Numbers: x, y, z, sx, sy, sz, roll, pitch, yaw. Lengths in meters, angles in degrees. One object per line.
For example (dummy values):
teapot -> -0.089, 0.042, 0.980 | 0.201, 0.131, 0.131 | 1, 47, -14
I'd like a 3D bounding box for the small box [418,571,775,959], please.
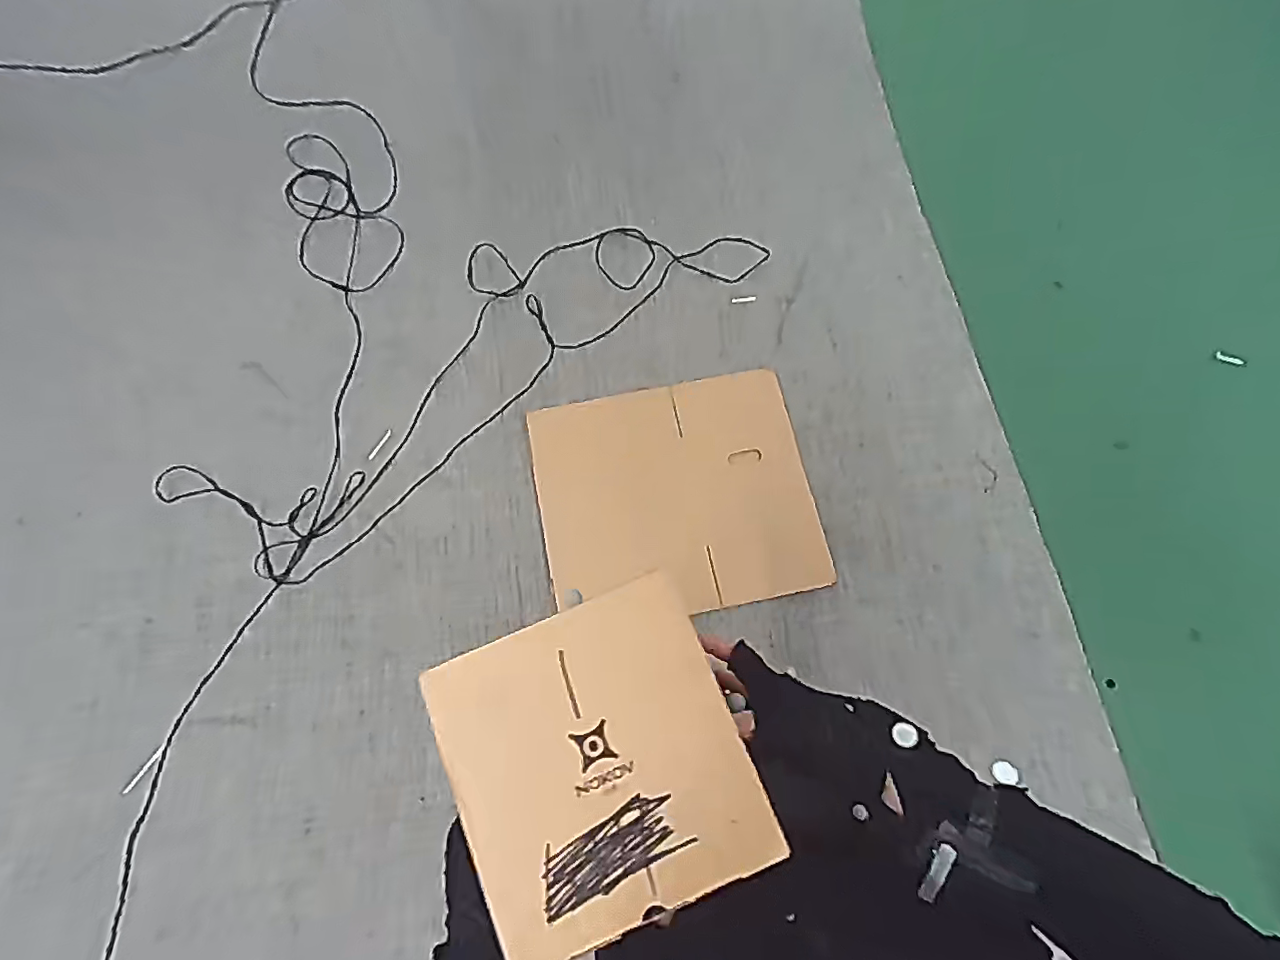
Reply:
small box -> -0.026, 0.178, 0.394 | 0.168, 0.176, 0.179 | -23, 78, -4
